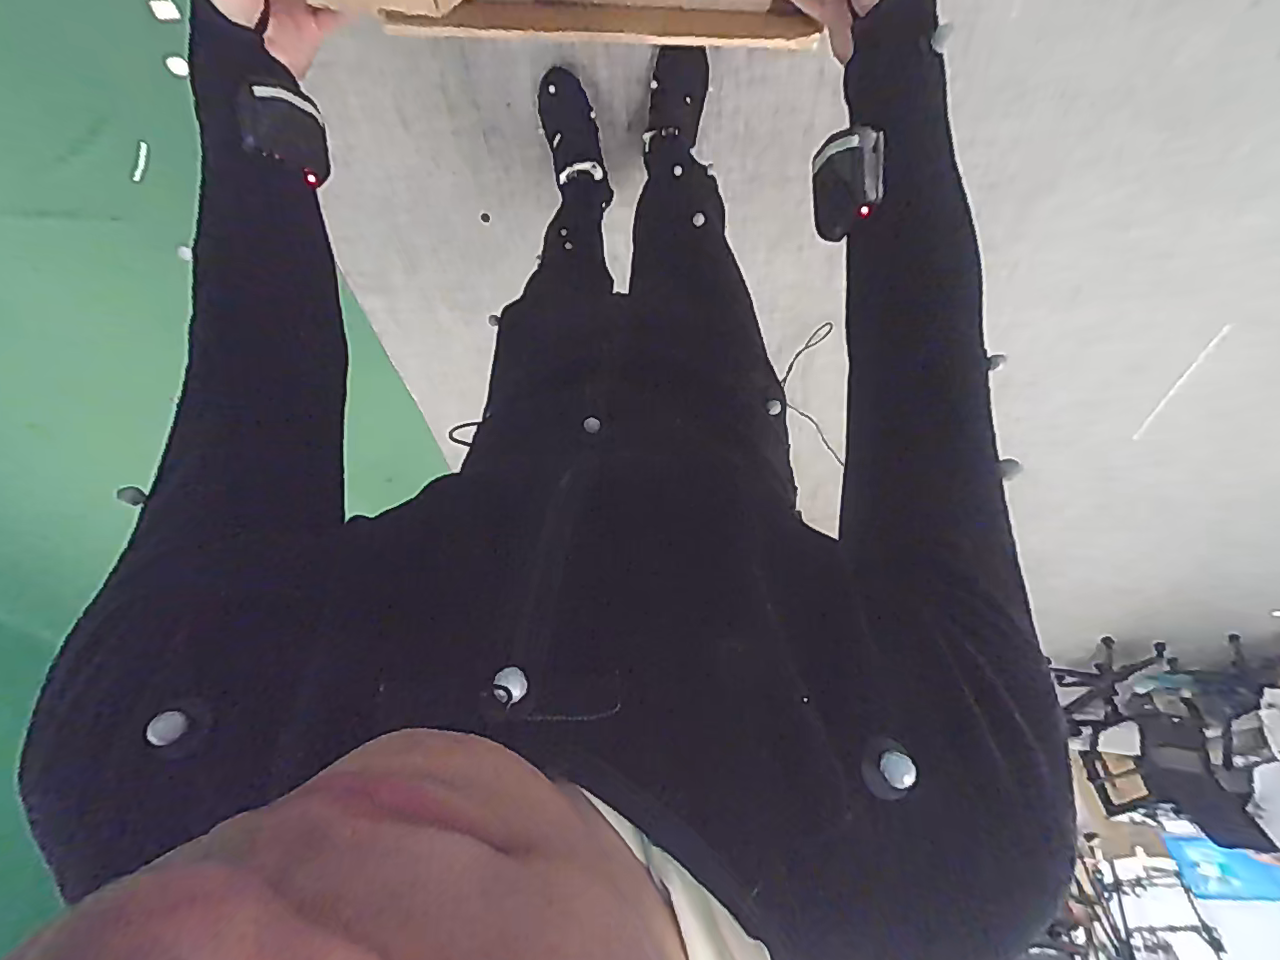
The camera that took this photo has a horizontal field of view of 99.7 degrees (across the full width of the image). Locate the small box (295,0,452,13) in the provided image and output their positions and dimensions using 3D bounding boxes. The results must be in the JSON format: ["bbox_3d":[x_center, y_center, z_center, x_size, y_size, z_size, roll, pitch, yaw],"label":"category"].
[{"bbox_3d":[-0.207,-0.481,0.387,0.168,0.176,0.179,15,151,11],"label":"small box"}]
